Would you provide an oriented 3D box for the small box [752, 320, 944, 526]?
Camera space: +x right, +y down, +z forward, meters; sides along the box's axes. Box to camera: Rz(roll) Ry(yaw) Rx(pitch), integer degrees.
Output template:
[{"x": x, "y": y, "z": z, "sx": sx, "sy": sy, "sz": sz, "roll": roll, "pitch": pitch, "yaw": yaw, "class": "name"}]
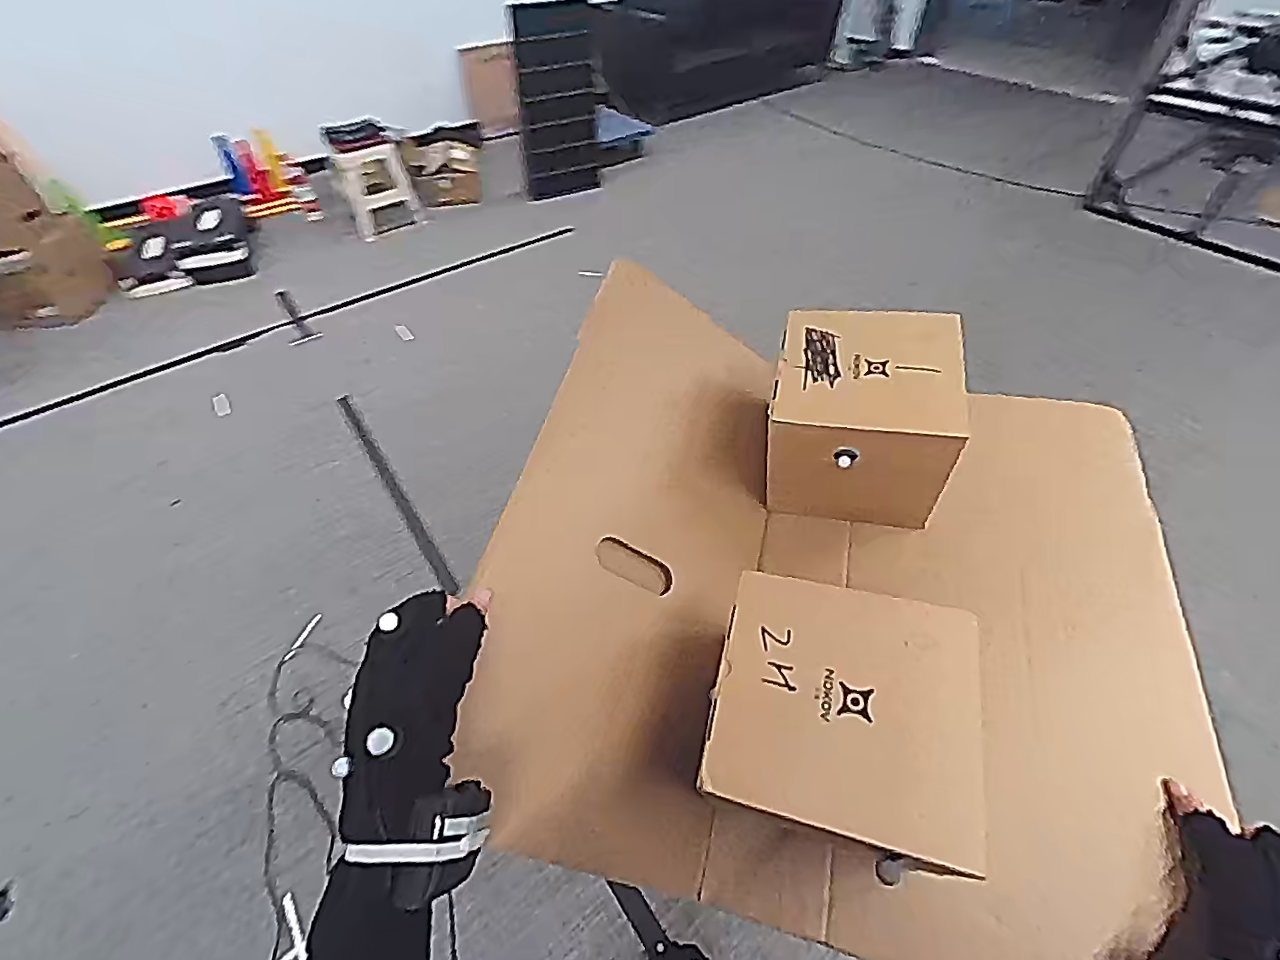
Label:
[{"x": 0.226, "y": -0.062, "z": 0.619, "sx": 0.179, "sy": 0.176, "sz": 0.168, "roll": 6, "pitch": 58, "yaw": 15, "class": "small box"}]
